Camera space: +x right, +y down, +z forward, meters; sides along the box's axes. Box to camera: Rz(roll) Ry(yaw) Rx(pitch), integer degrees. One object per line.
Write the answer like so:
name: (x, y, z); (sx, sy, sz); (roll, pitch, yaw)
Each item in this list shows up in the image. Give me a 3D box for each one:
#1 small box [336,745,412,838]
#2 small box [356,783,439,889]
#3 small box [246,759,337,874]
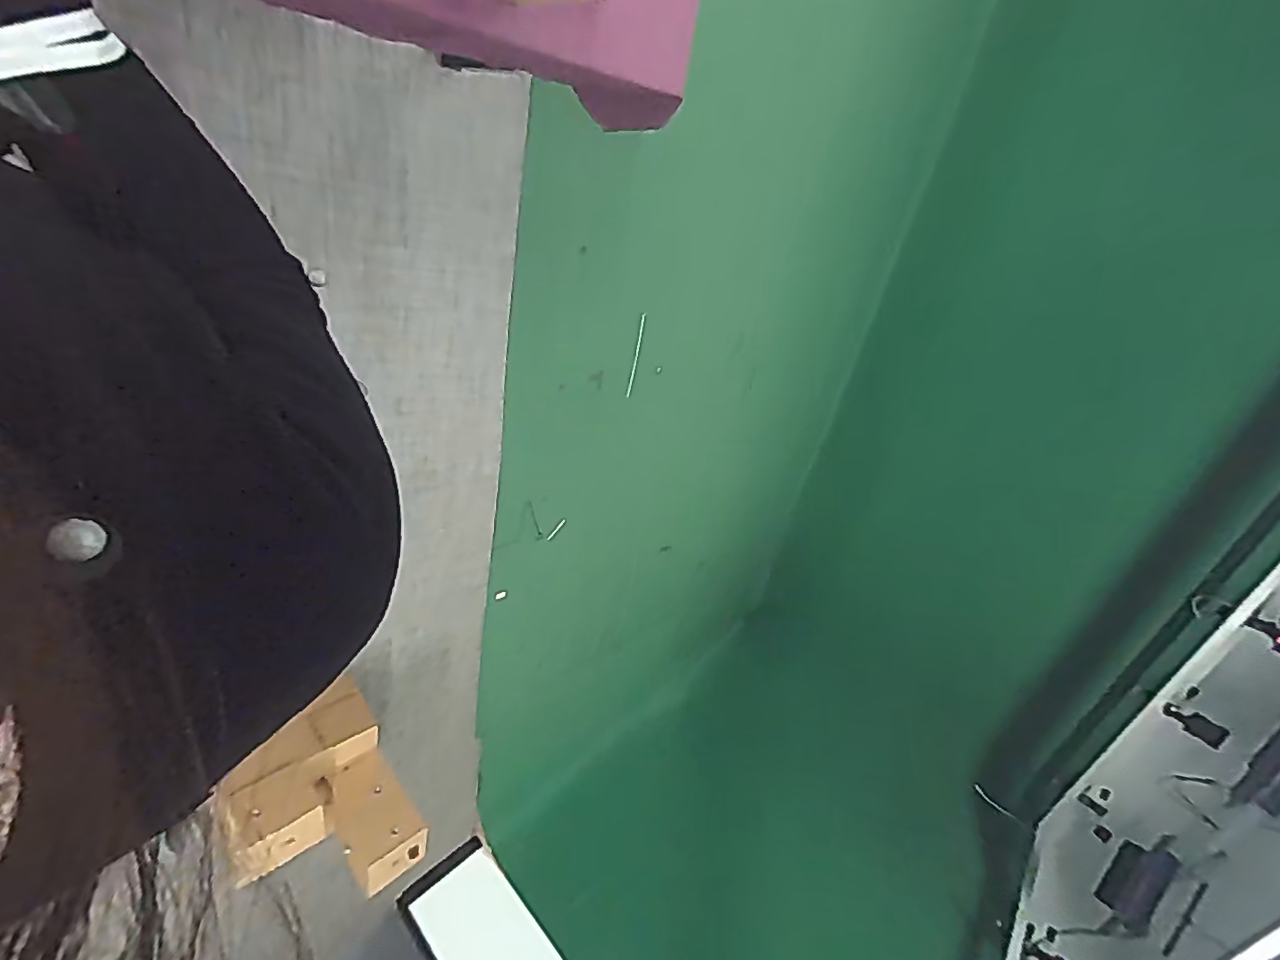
small box: (-0.855, 0.997, 1.735); (0.168, 0.176, 0.179); (-17, 131, -47)
small box: (-0.739, 1.071, 1.644); (0.179, 0.176, 0.168); (-17, 131, -46)
small box: (-0.977, 0.934, 1.514); (0.179, 0.176, 0.168); (-19, 132, -45)
